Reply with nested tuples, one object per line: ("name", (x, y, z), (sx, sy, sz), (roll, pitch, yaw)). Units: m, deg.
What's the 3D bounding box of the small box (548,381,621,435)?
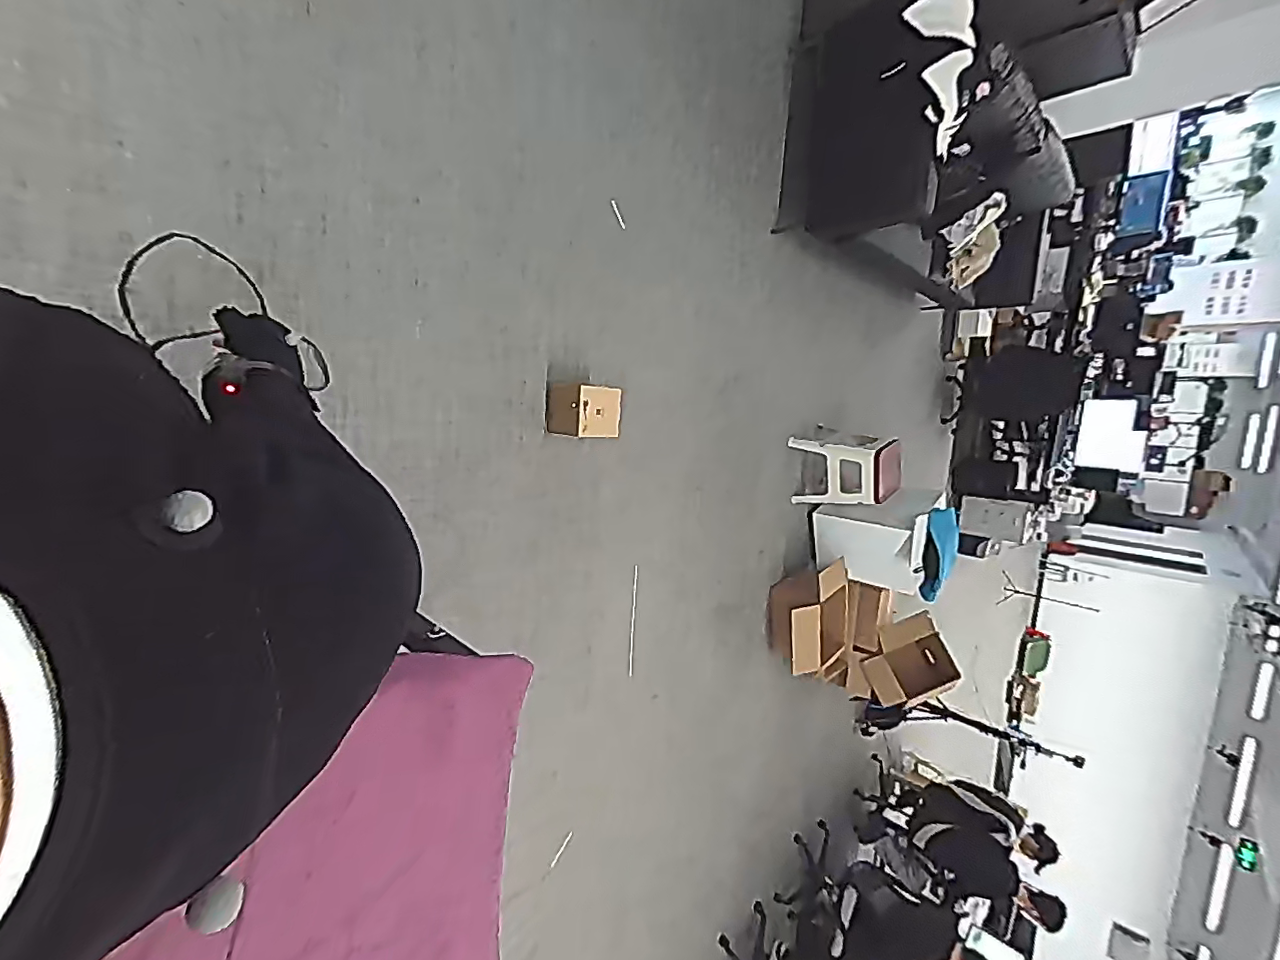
("small box", (-0.187, -0.242, 1.813), (0.179, 0.176, 0.168), (-3, 100, -46))
